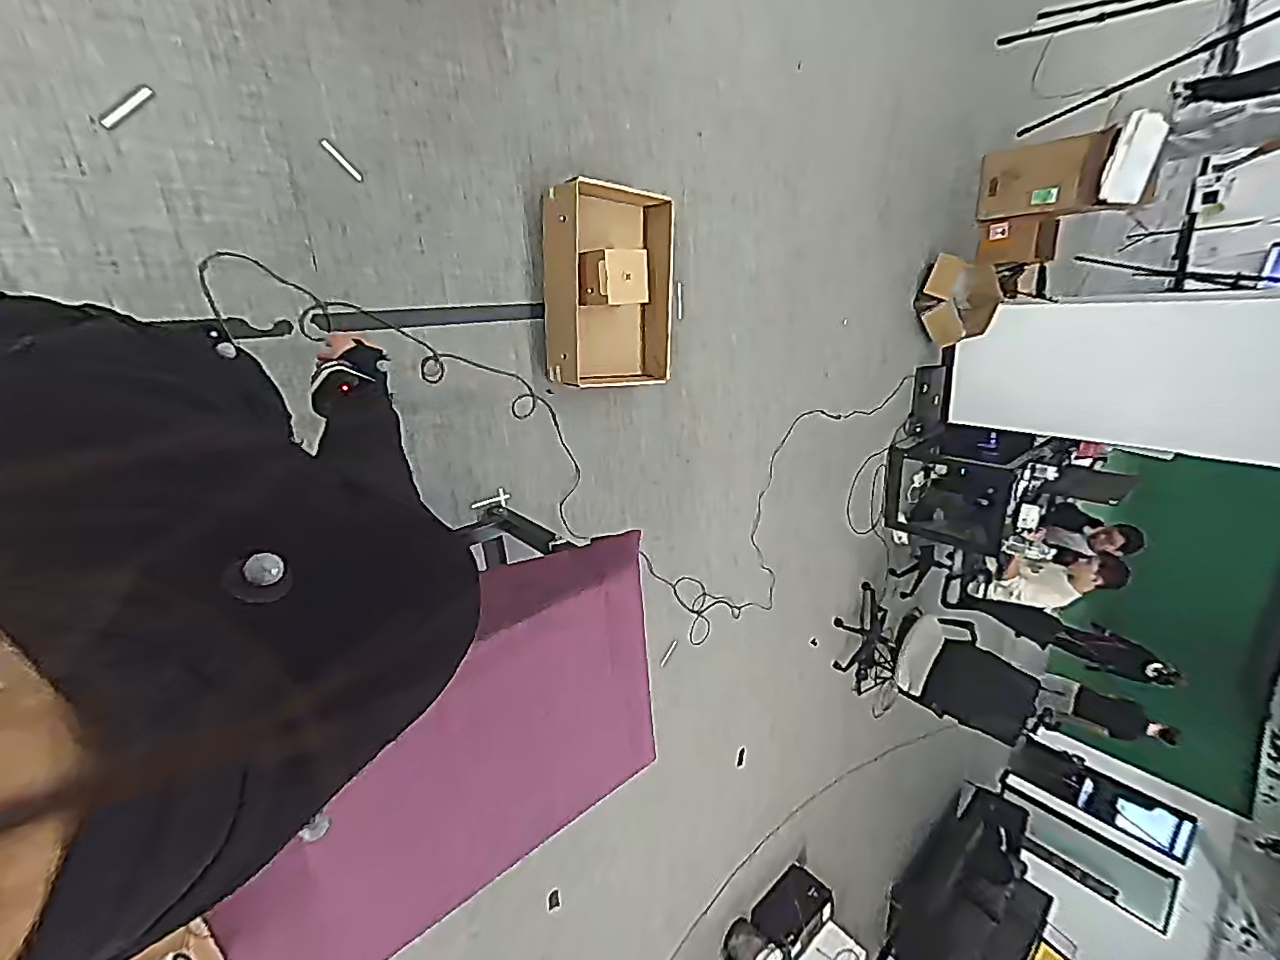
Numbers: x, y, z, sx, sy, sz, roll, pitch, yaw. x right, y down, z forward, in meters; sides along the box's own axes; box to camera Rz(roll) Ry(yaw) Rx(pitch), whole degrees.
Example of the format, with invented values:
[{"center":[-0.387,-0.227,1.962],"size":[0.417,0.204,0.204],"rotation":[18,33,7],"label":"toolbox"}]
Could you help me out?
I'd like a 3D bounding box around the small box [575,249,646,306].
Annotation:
[{"center":[-0.102,-0.665,1.786],"size":[0.179,0.176,0.168],"rotation":[-18,115,-37],"label":"small box"}]
